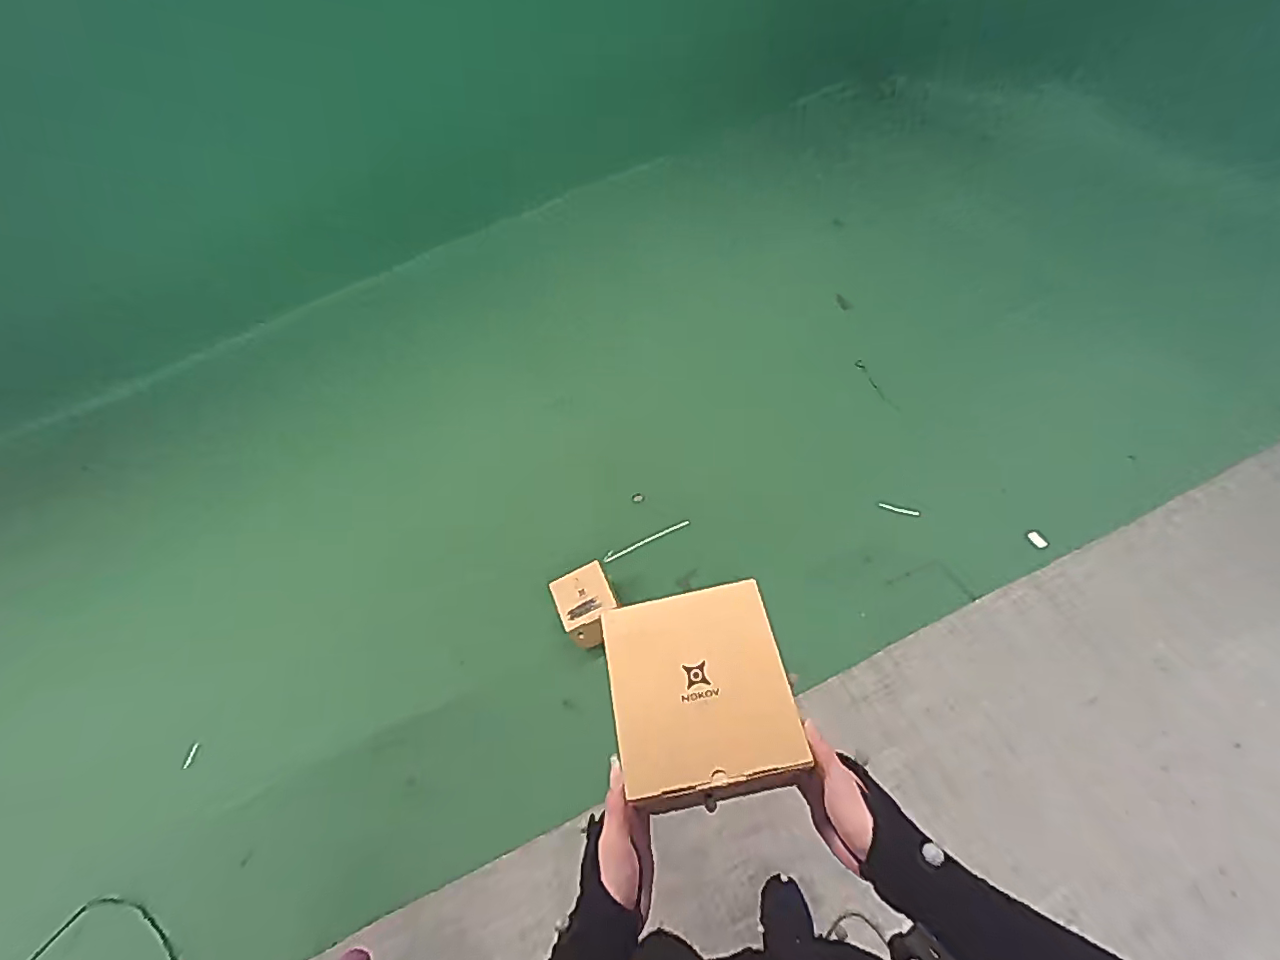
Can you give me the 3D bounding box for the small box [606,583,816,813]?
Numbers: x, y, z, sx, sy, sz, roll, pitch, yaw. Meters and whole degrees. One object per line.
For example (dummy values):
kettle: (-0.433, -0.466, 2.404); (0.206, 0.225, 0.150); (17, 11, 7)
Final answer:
small box: (0.064, 0.234, 0.568); (0.168, 0.176, 0.179); (-11, 56, 0)
